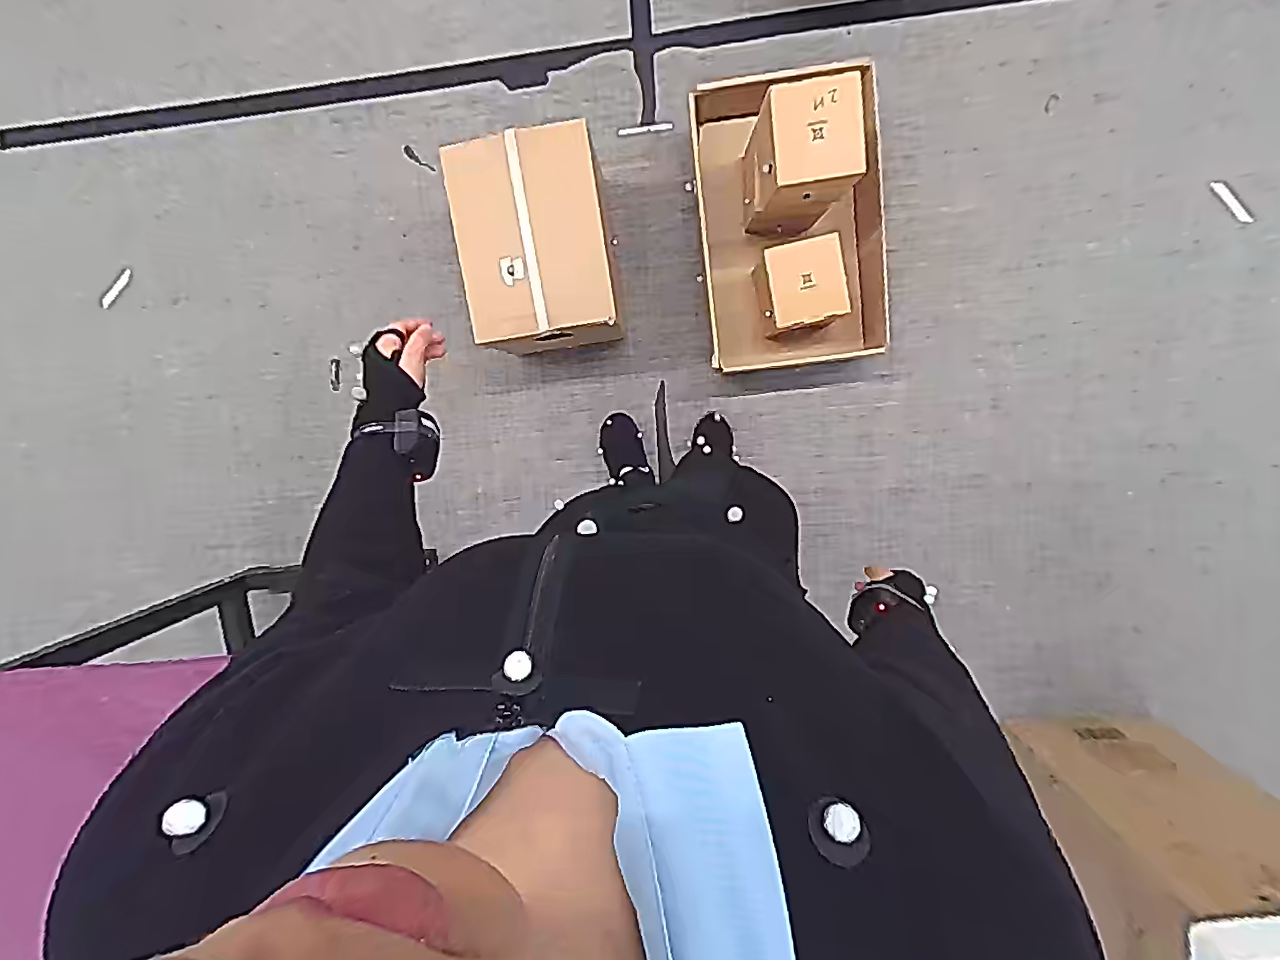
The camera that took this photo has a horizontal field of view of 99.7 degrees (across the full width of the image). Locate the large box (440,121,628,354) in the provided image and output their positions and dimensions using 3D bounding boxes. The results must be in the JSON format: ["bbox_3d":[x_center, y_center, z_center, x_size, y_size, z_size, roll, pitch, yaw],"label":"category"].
[{"bbox_3d":[-0.219,-0.529,1.267,0.320,0.320,0.408,-9,99,5],"label":"large box"}]

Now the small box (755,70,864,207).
[{"bbox_3d":[0.328,-0.658,1.069,0.168,0.176,0.179,-7,100,3],"label":"small box"}]
